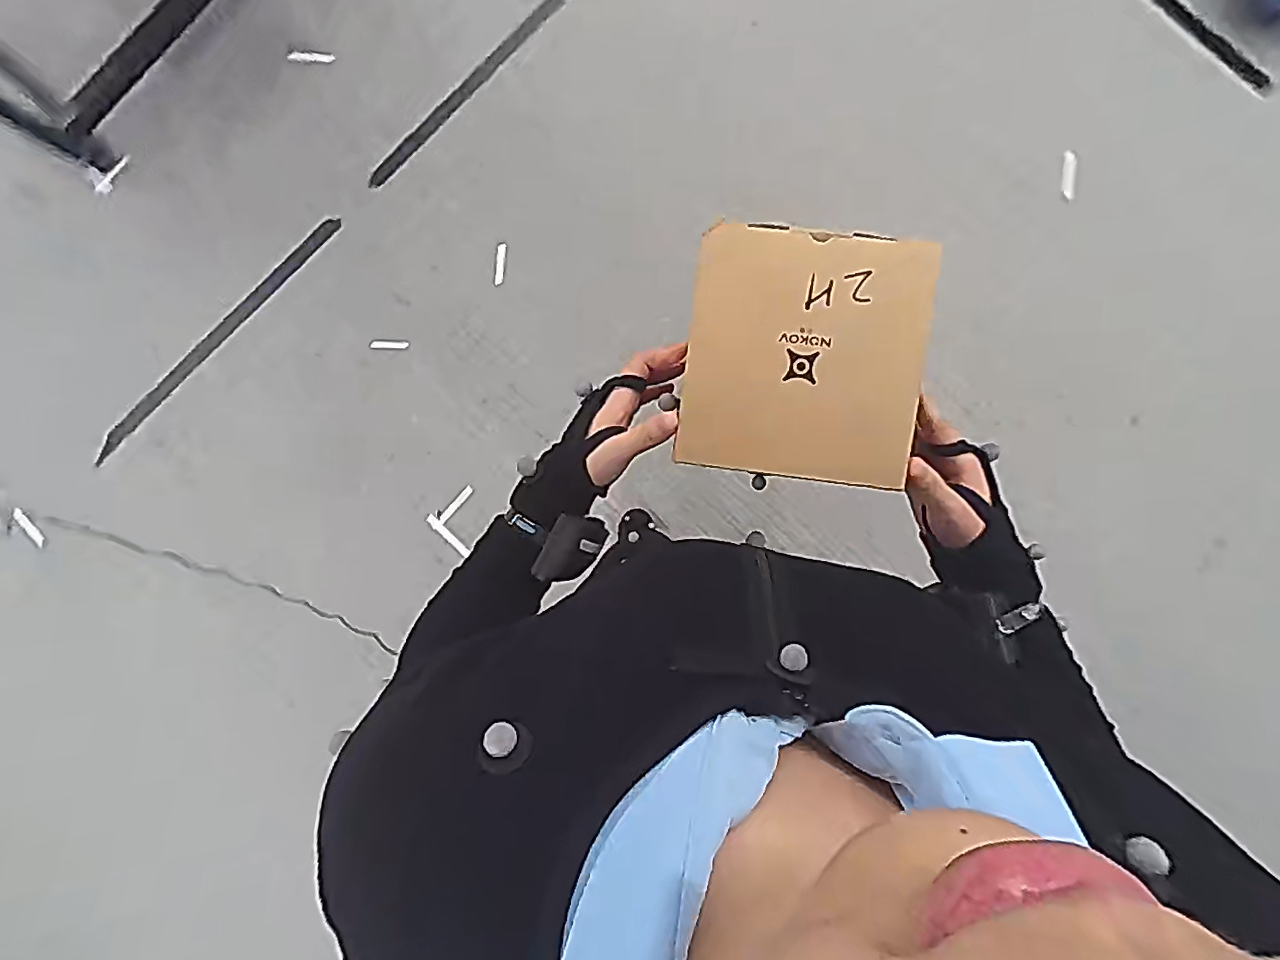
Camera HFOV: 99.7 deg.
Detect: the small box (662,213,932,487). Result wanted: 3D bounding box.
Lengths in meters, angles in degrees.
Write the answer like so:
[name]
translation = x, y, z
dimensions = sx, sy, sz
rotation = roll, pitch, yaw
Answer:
[small box]
translation = 0.112, -0.093, 0.453
dimensions = 0.168, 0.176, 0.179
rotation = 6, 92, 3
